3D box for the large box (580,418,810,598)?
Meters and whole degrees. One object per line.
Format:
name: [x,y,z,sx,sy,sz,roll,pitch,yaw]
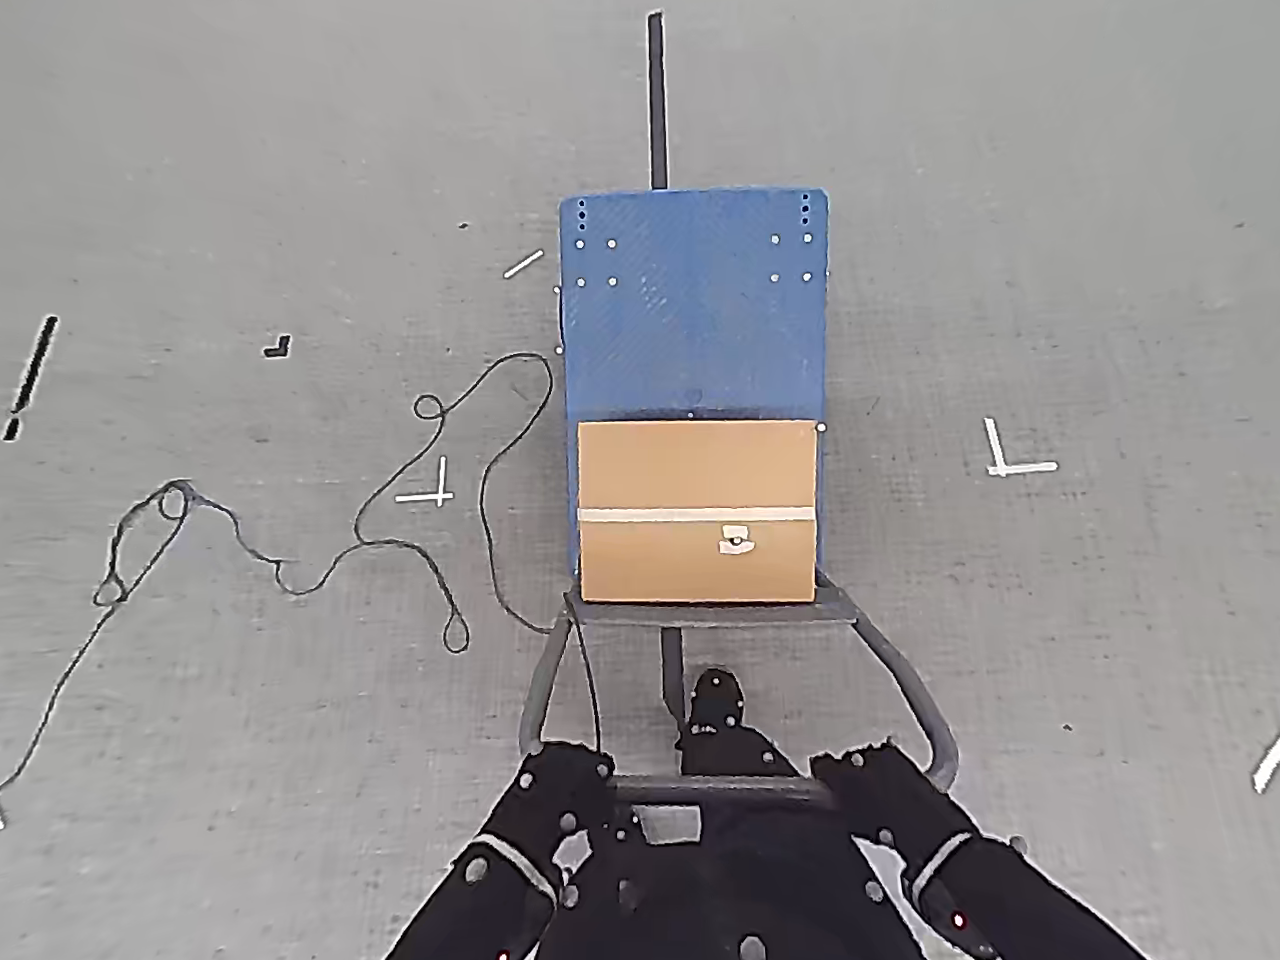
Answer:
large box: [0.099,0.040,1.097,0.408,0.320,0.320,-1,96,1]
